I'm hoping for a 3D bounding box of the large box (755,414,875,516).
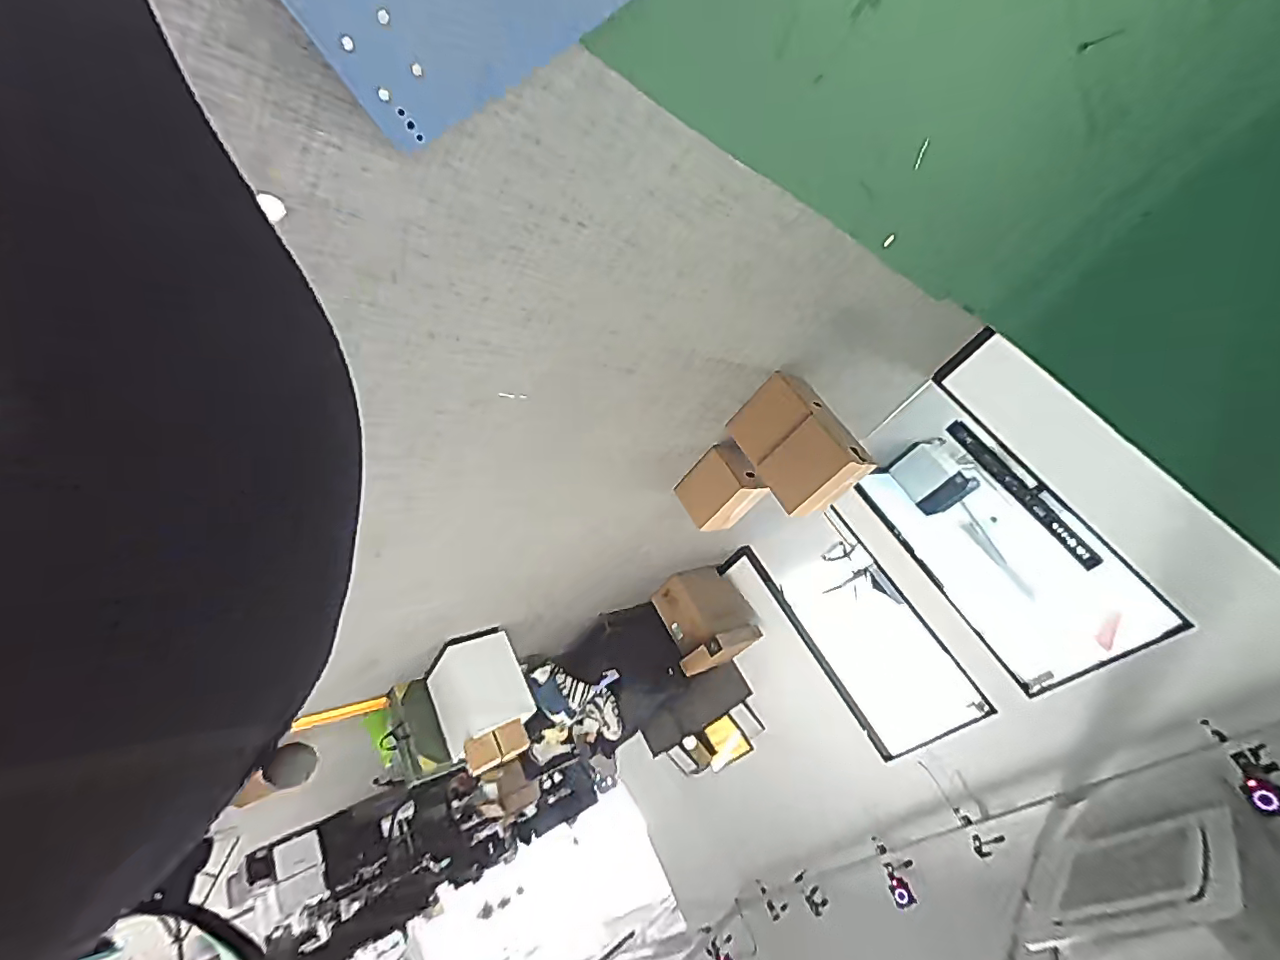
[{"bbox_3d":[0.855,-0.066,2.678,0.320,0.320,0.408,2,137,-46],"label":"large box"}]
